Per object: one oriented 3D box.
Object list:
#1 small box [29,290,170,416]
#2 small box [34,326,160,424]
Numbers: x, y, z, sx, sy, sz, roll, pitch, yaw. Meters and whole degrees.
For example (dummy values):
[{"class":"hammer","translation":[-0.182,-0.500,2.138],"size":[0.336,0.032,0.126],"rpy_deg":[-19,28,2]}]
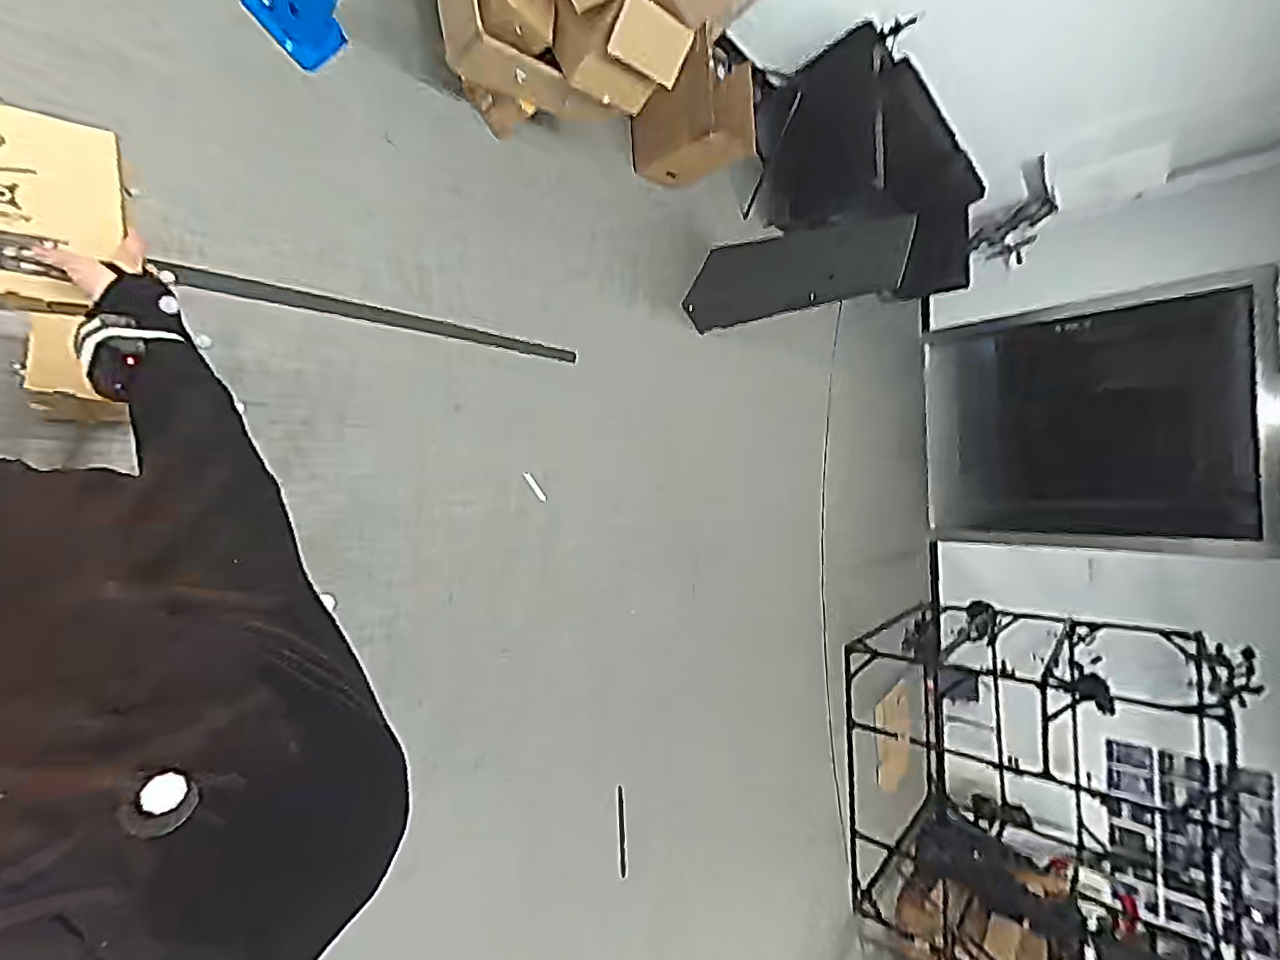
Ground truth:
[{"class":"small box","translation":[-1.001,-0.224,1.002],"size":[0.168,0.176,0.179],"rpy_deg":[6,85,-48]},{"class":"small box","translation":[-1.119,-0.208,1.114],"size":[0.179,0.176,0.168],"rpy_deg":[-1,90,-47]}]
